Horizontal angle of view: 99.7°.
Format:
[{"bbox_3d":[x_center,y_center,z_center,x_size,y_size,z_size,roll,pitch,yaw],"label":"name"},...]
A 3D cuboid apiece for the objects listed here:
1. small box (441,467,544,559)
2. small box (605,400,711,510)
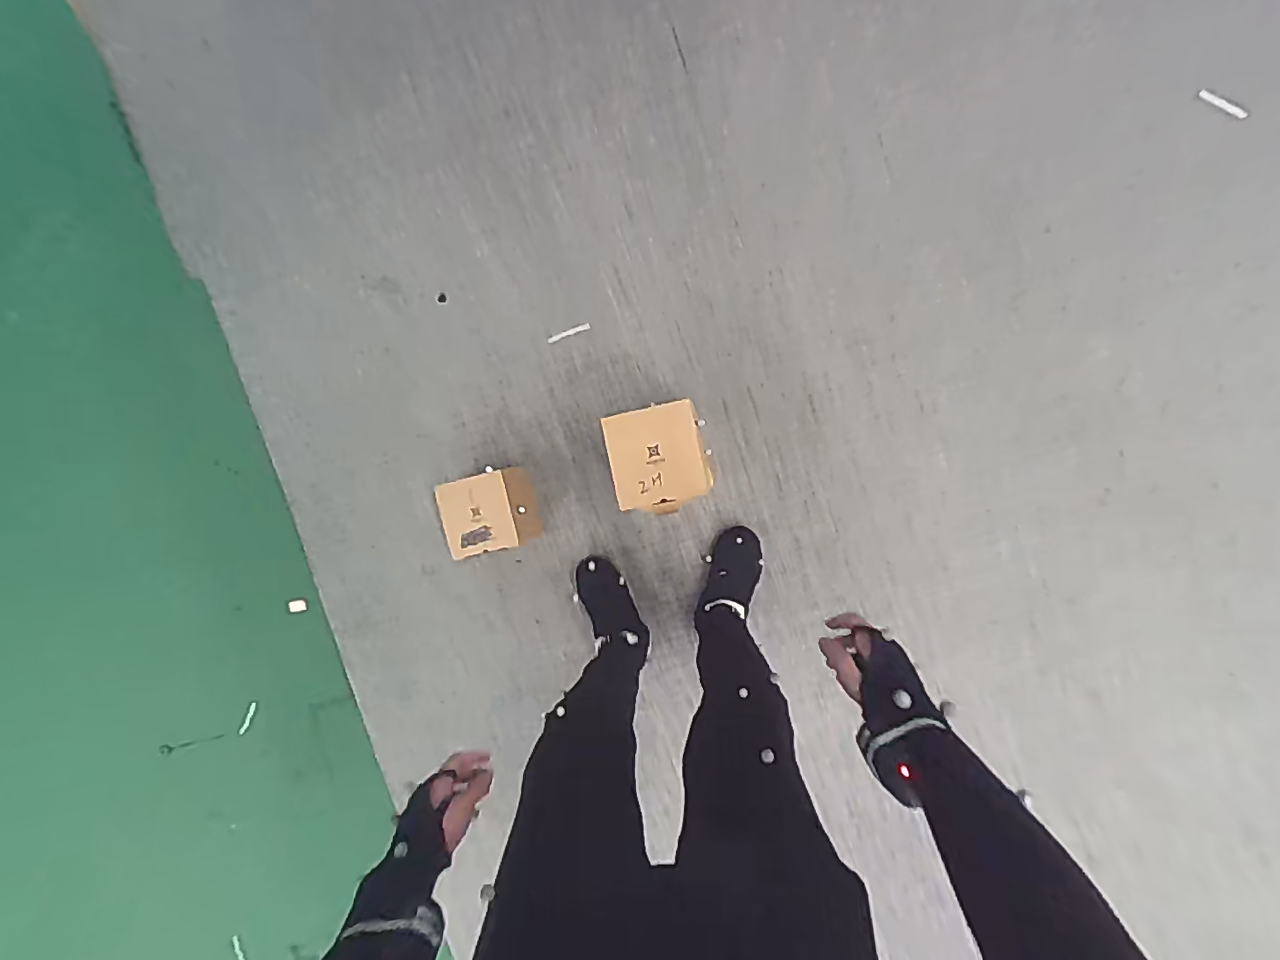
[{"bbox_3d":[-0.344,0.073,1.296,0.168,0.176,0.179,-13,92,8],"label":"small box"},{"bbox_3d":[0.041,-0.048,1.048,0.168,0.176,0.179,-11,93,10],"label":"small box"}]
